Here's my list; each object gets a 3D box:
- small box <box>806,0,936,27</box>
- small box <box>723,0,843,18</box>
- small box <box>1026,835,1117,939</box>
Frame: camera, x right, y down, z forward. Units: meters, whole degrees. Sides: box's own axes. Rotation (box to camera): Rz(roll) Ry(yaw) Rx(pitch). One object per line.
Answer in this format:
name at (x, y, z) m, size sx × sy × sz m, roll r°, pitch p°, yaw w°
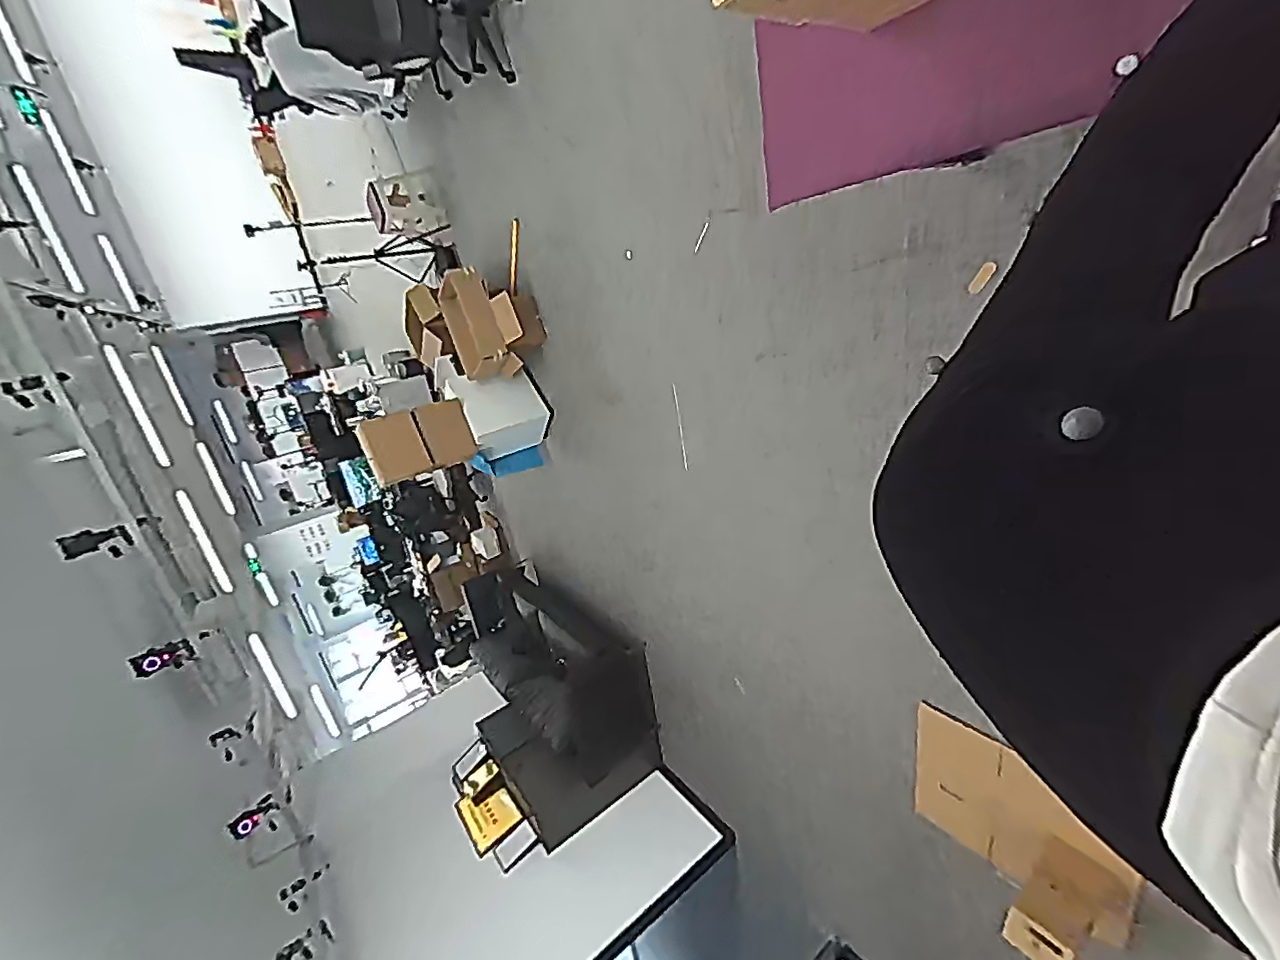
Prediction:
small box at (0.335, -0.732, 0.706) m, size 0.179 × 0.176 × 0.168 m, roll 19°, pitch 124°, yaw 52°
small box at (0.206, -0.675, 0.626) m, size 0.179 × 0.176 × 0.168 m, roll 19°, pitch 126°, yaw 53°
small box at (1.404, 1.314, 1.758) m, size 0.179 × 0.176 × 0.168 m, roll 26°, pitch 130°, yaw 50°
